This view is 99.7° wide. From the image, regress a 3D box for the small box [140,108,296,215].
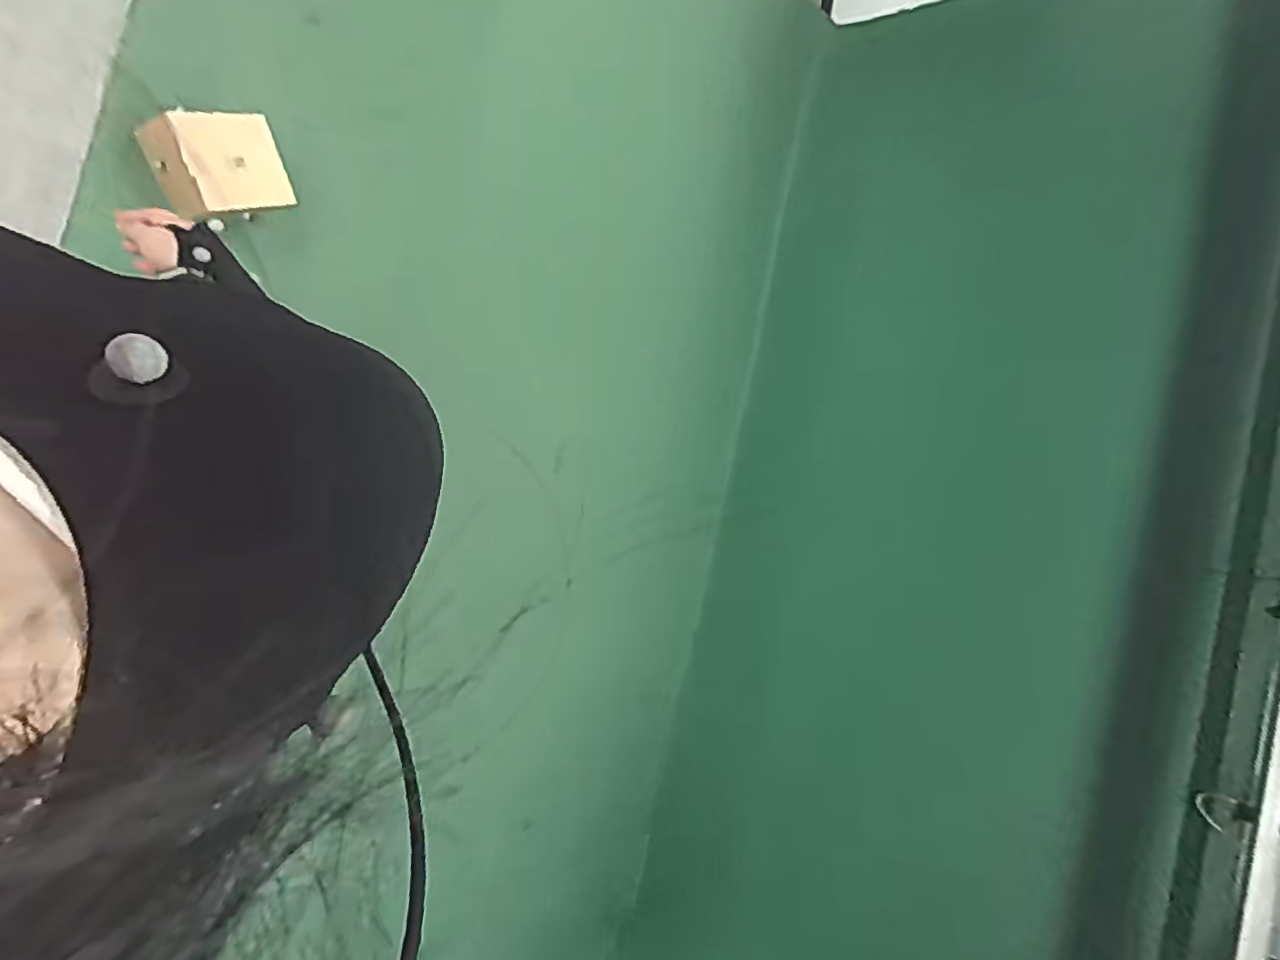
[{"bbox_3d":[-0.865,-0.651,1.113,0.179,0.176,0.168,-39,130,-44],"label":"small box"}]
